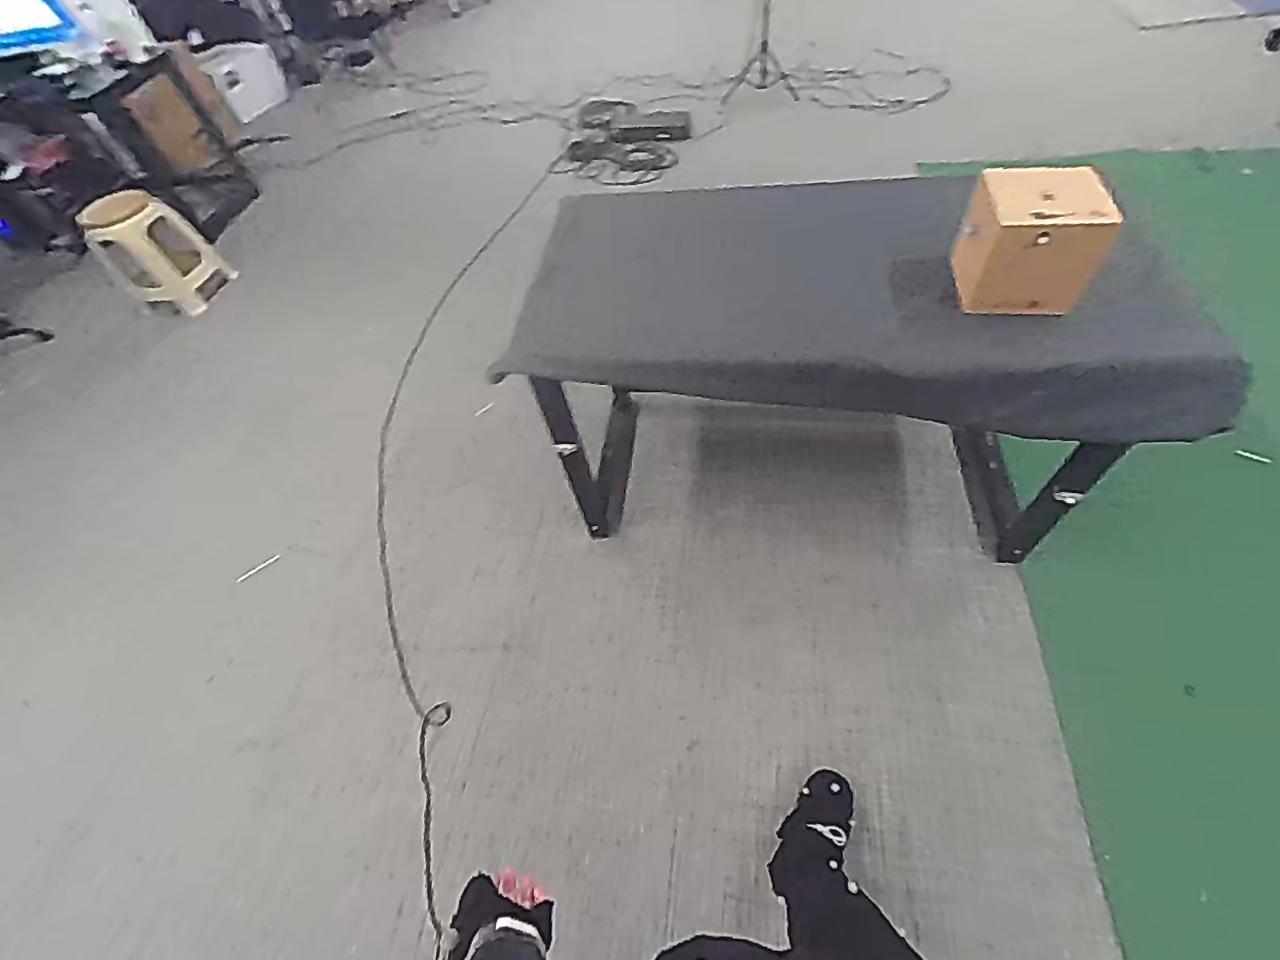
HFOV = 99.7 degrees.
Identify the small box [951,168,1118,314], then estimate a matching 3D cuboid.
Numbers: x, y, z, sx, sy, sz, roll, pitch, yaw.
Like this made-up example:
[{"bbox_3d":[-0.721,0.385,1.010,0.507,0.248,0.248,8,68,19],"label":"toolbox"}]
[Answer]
[{"bbox_3d":[0.659,-0.410,0.932,0.168,0.176,0.179,4,55,13],"label":"small box"}]
